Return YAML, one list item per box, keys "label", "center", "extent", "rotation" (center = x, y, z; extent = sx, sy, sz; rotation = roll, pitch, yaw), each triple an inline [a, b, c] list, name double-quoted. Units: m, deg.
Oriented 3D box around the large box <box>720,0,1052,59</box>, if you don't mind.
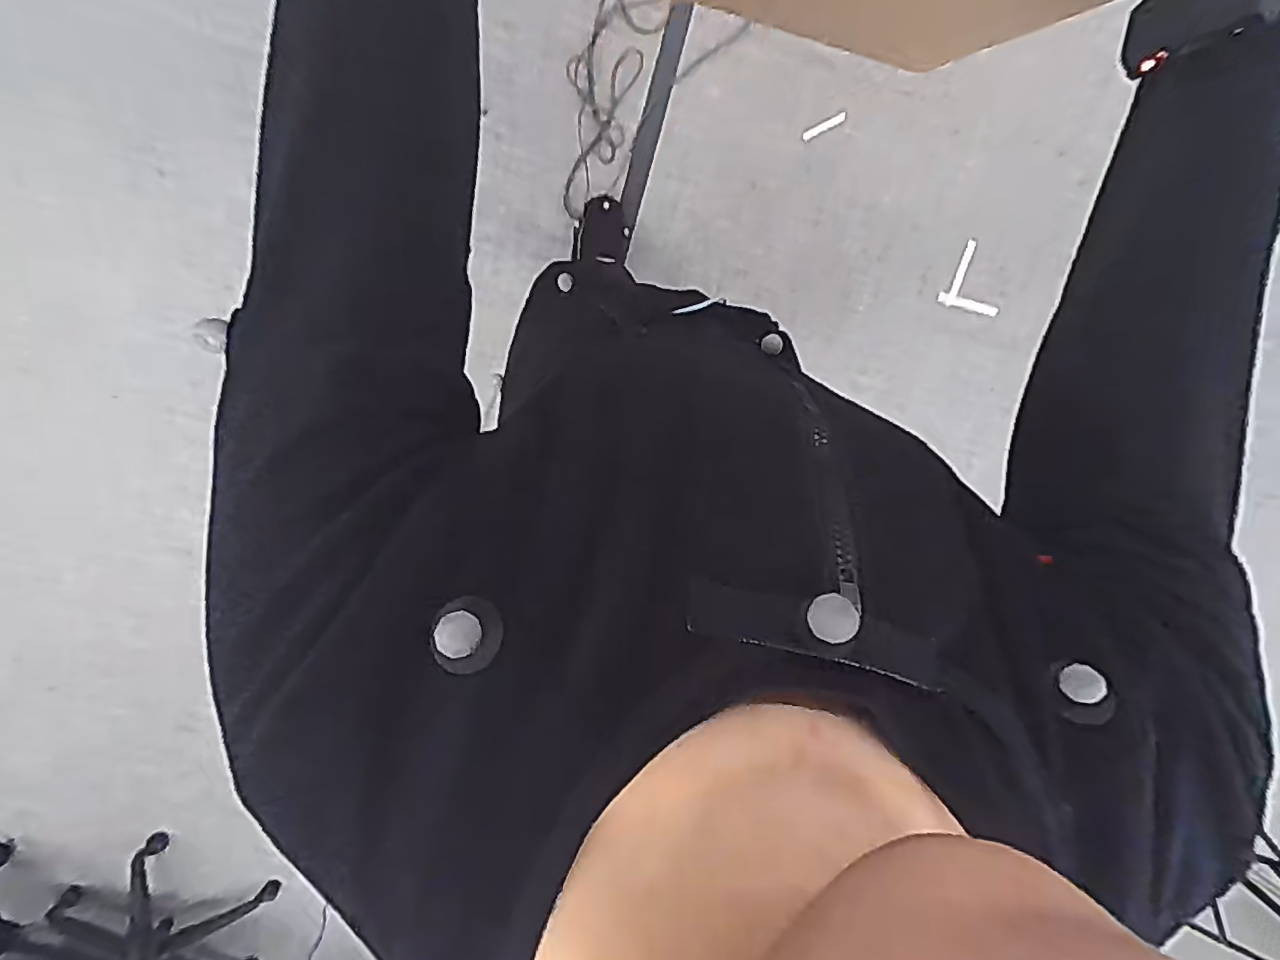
- label: "large box"
  center: [0.155, -0.560, 0.377]
  extent: [0.408, 0.320, 0.320]
  rotation: [11, 119, -8]
